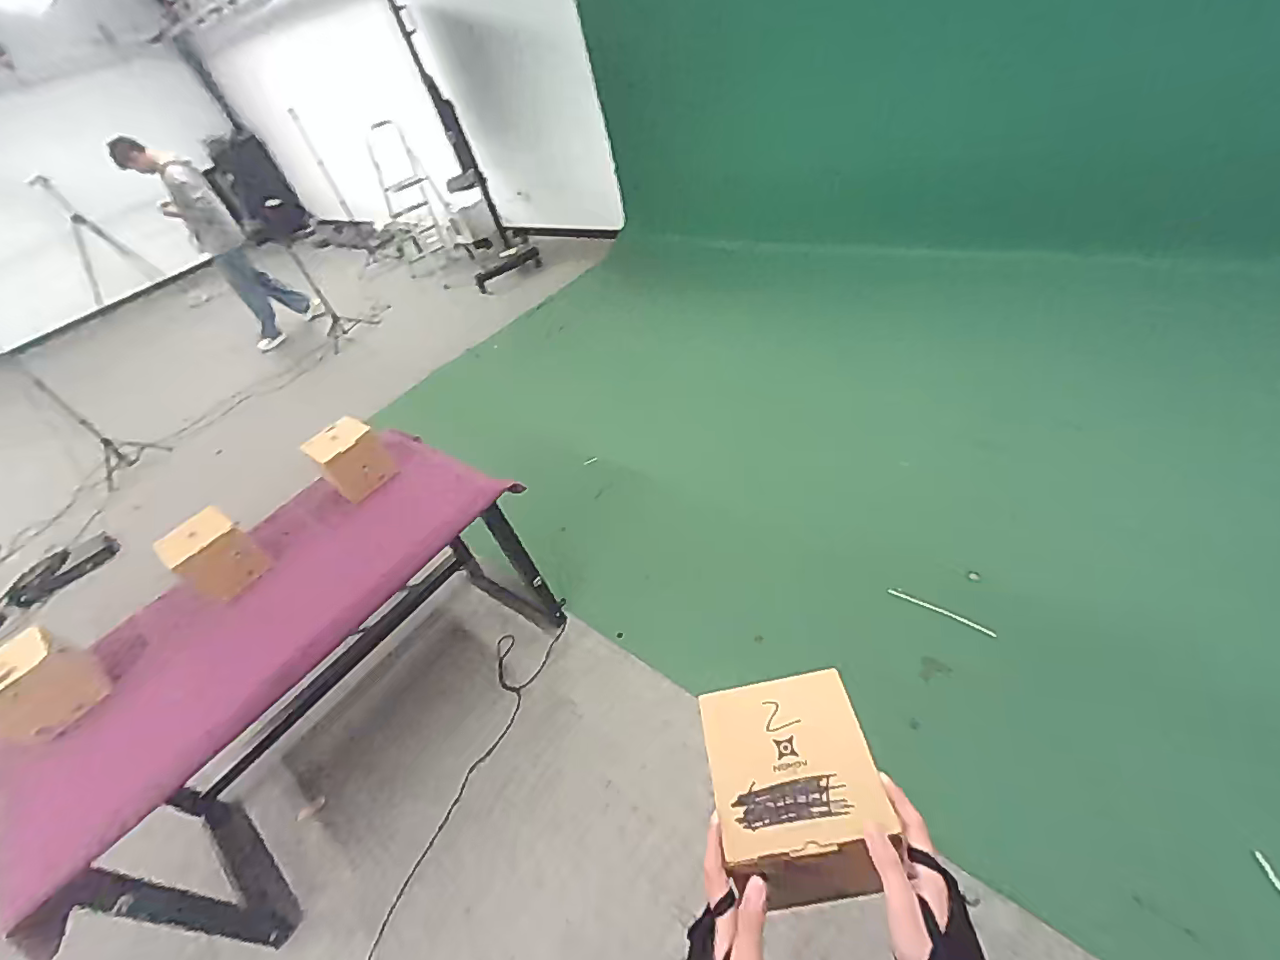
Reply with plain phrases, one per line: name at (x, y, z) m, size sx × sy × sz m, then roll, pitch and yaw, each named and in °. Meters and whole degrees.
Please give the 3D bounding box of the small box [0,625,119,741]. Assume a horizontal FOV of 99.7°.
small box at (-1.382, 0.478, 1.263) m, size 0.179 × 0.176 × 0.168 m, roll 19°, pitch 53°, yaw 35°

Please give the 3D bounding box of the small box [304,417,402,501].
small box at (-0.869, -0.061, 1.652) m, size 0.179 × 0.176 × 0.168 m, roll 22°, pitch 56°, yaw 36°

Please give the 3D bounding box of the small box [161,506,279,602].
small box at (-1.131, 0.205, 1.467) m, size 0.179 × 0.176 × 0.168 m, roll 20°, pitch 54°, yaw 36°
